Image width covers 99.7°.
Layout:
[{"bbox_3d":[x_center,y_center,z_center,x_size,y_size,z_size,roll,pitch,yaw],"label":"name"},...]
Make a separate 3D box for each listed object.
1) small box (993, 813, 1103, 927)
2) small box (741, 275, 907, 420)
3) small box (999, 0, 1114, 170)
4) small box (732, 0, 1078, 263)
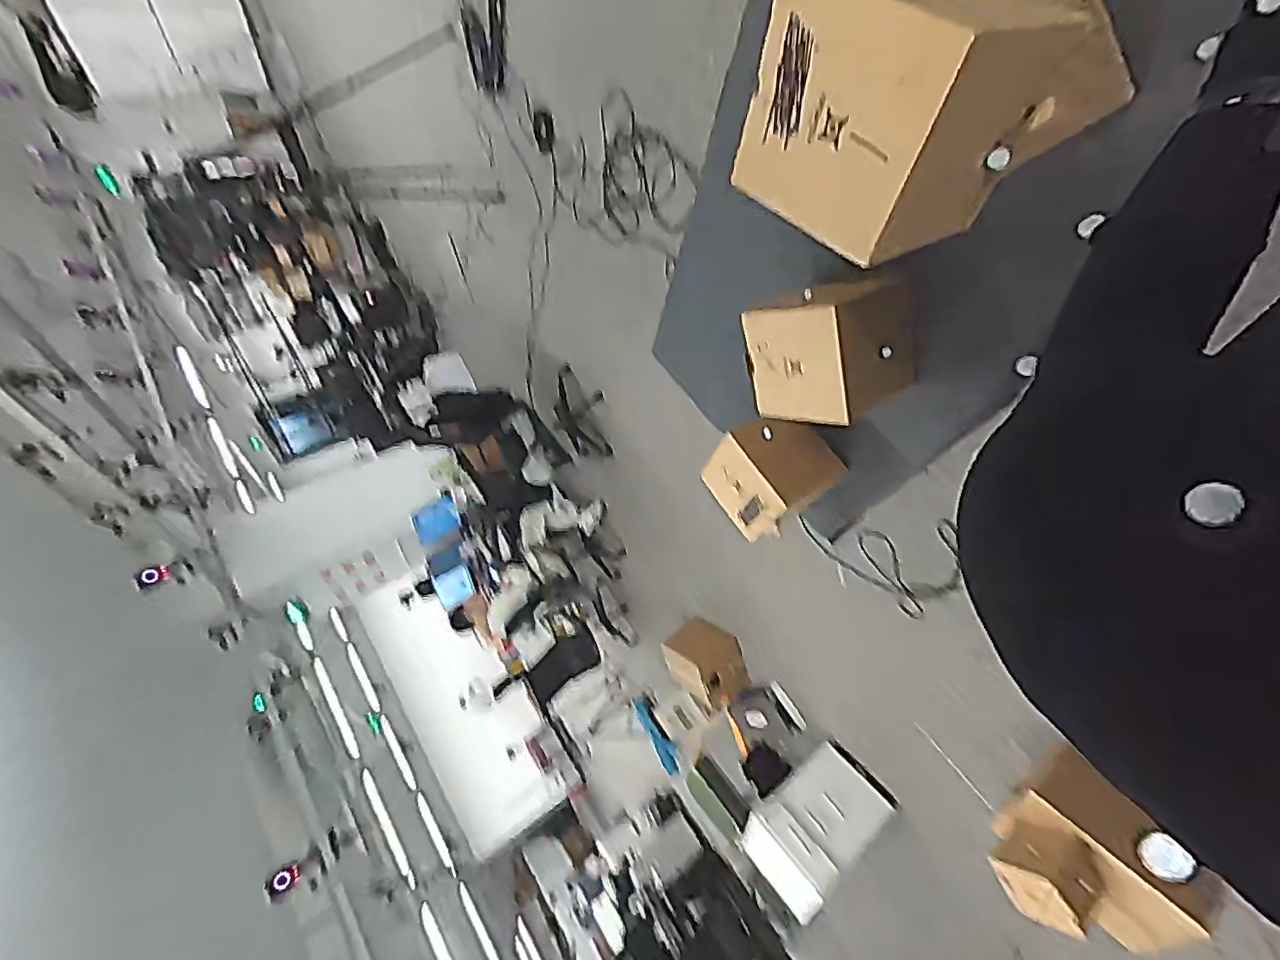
[{"bbox_3d":[1.138,1.067,1.500,0.168,0.176,0.179,61,151,2],"label":"small box"},{"bbox_3d":[0.288,-0.204,0.829,0.179,0.176,0.168,18,130,55],"label":"small box"},{"bbox_3d":[0.336,-0.404,0.553,0.168,0.176,0.179,64,155,-4],"label":"small box"},{"bbox_3d":[0.215,-0.324,0.474,0.179,0.176,0.168,48,152,26],"label":"small box"}]
